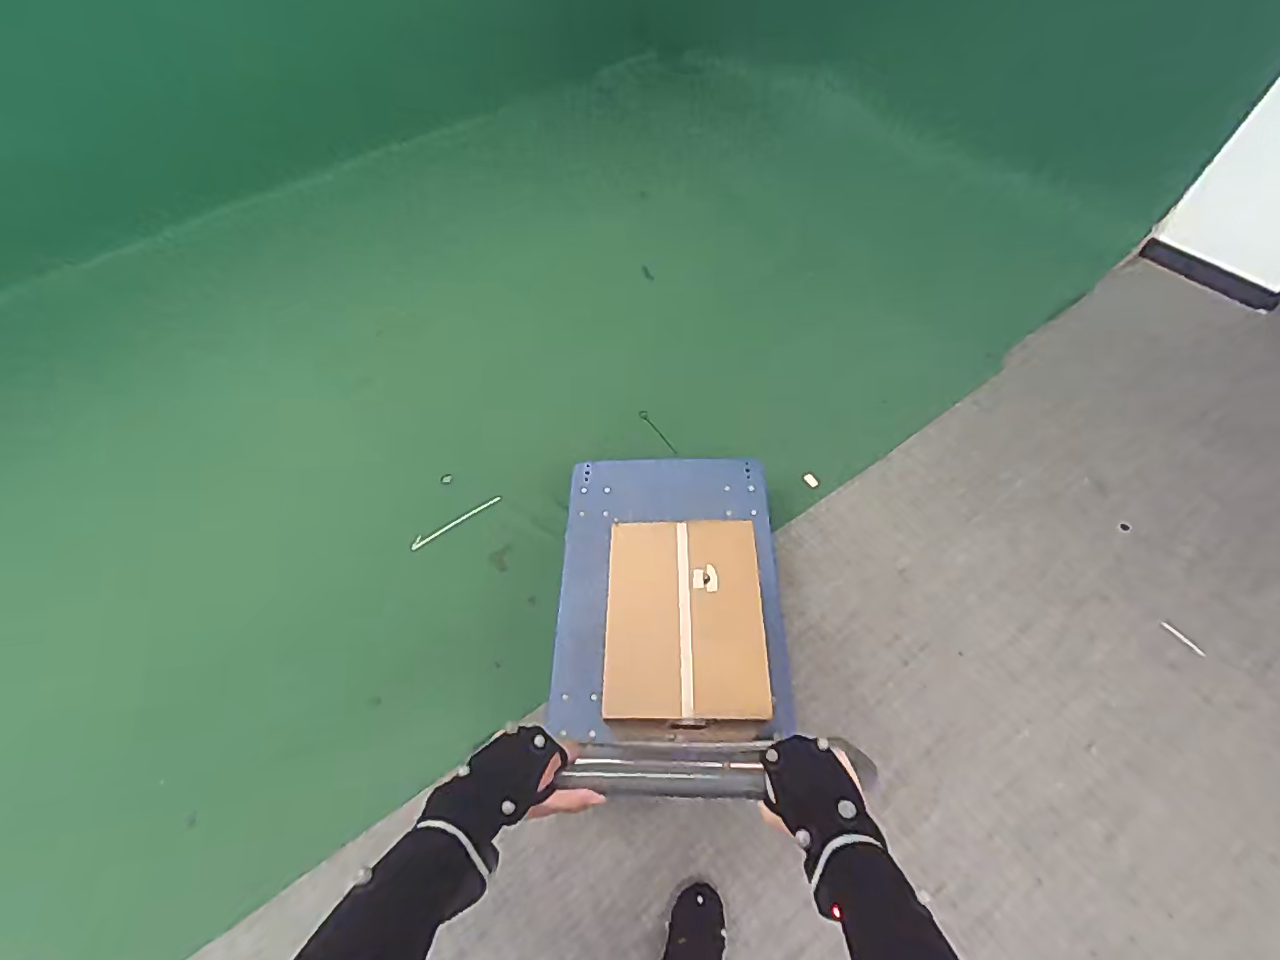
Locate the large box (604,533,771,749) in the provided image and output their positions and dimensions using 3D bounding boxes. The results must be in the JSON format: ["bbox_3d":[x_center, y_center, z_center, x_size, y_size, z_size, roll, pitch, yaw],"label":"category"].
[{"bbox_3d":[0.099,0.370,1.226,0.320,0.320,0.408,-1,57,3],"label":"large box"}]
